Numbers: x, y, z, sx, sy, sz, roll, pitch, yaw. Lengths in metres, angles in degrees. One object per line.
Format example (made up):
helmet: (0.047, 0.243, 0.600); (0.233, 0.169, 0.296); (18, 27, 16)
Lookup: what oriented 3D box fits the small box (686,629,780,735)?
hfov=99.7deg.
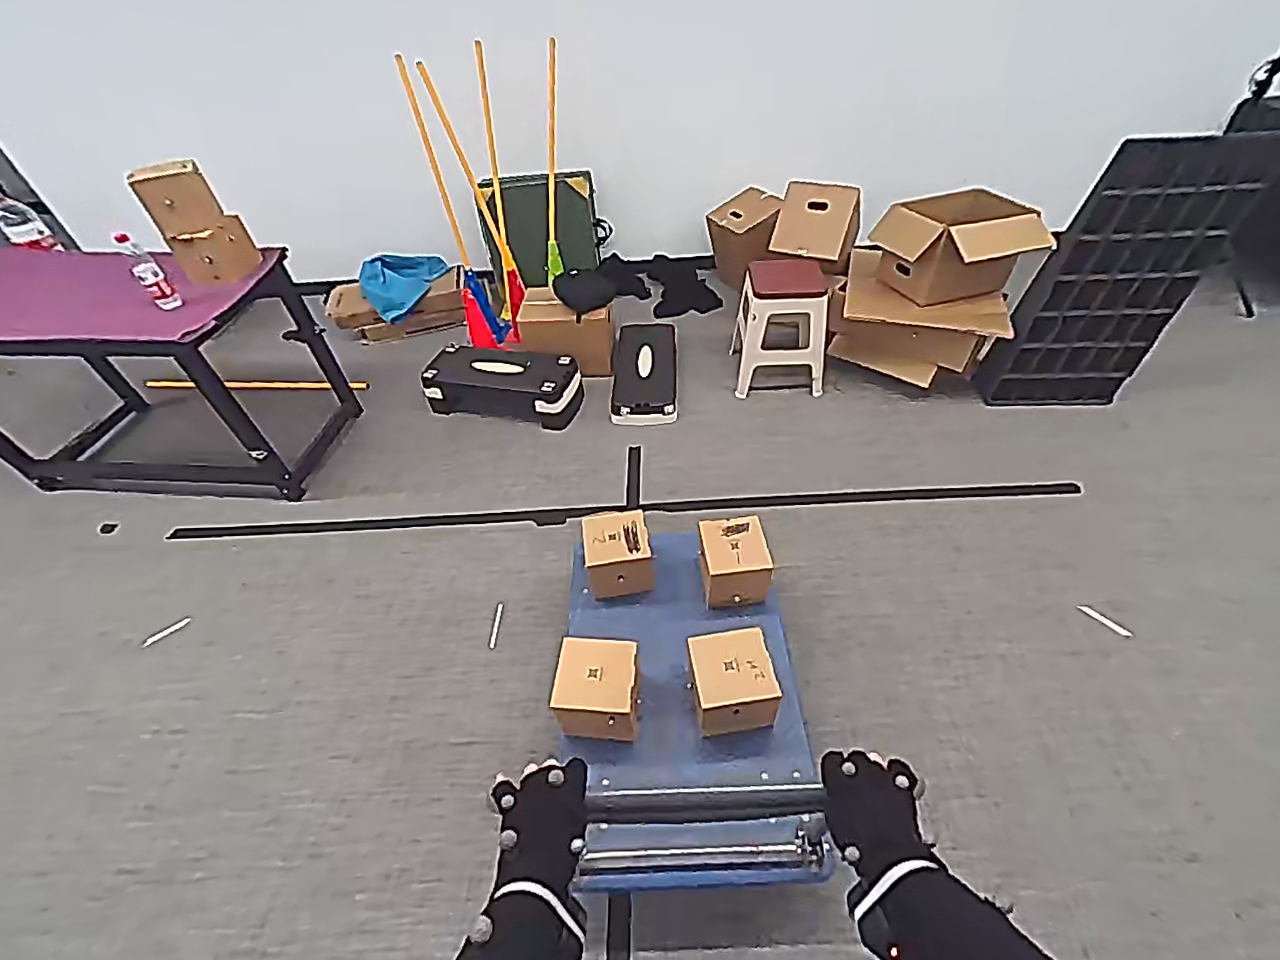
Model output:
small box: (0.207, 0.468, 1.243); (0.179, 0.176, 0.168); (-8, 46, -2)

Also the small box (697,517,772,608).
small box: (0.250, 0.225, 1.473); (0.168, 0.176, 0.179); (-6, 47, -1)

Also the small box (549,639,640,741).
small box: (-0.097, 0.487, 1.252); (0.179, 0.176, 0.168); (2, 46, 5)
